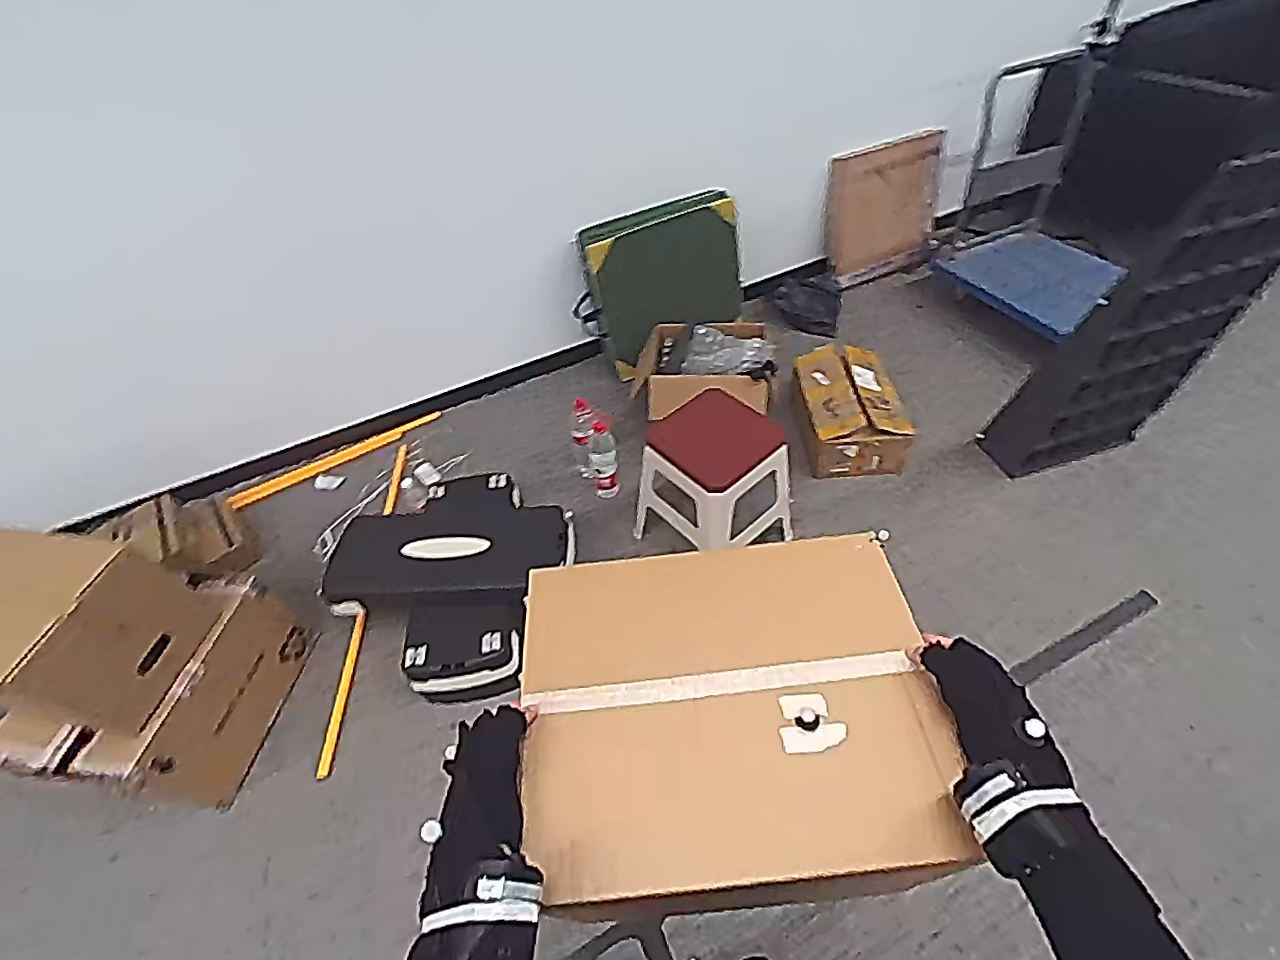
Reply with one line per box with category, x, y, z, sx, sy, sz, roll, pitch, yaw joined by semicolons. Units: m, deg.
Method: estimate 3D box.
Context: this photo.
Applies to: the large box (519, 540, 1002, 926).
large box;0.096;0.303;0.643;0.408;0.320;0.320;-6;48;1
